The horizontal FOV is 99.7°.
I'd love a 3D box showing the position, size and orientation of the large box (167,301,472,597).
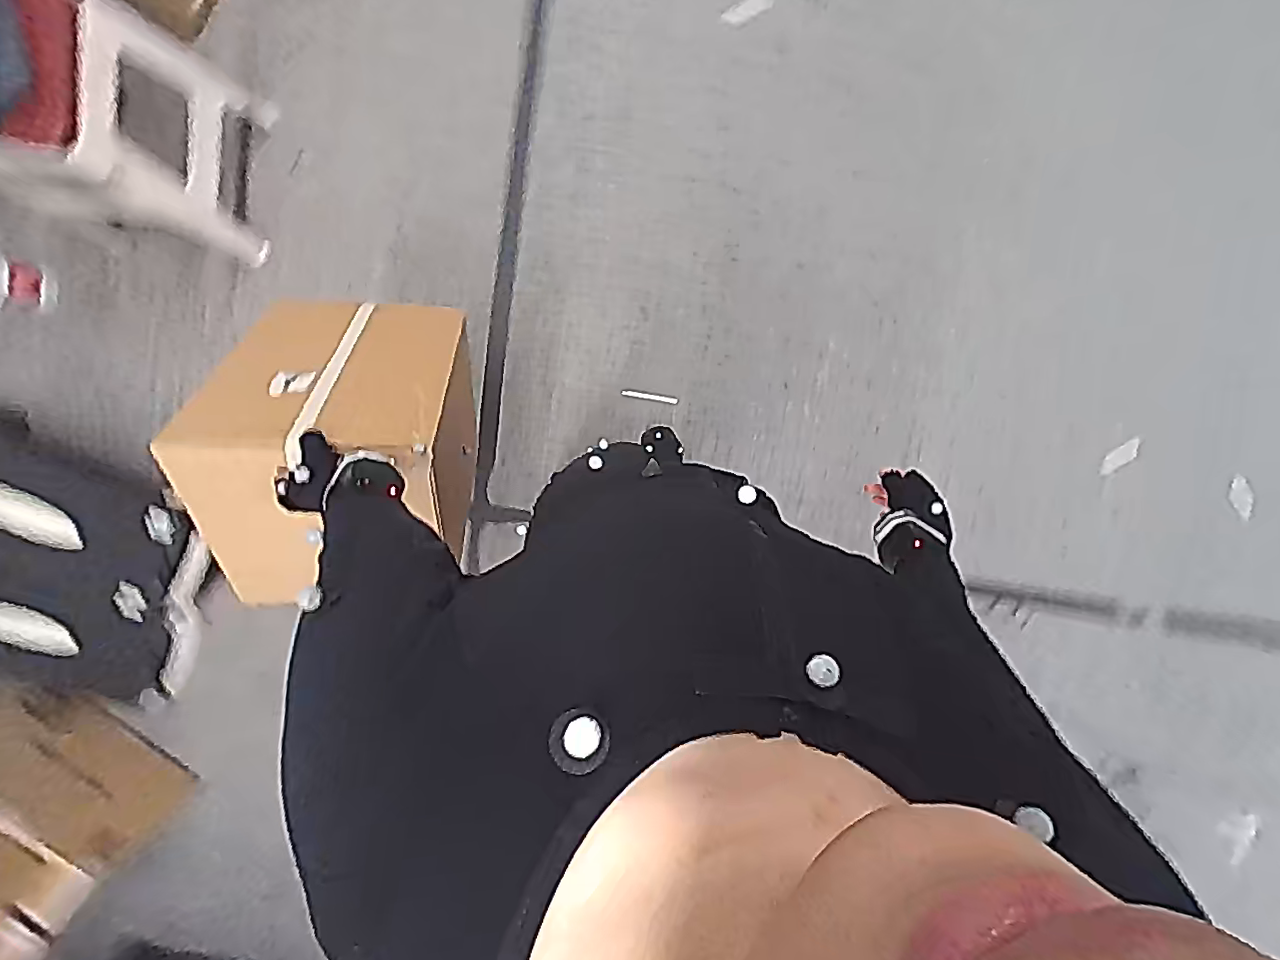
[{"bbox_3d":[-0.463,-0.058,0.909,0.320,0.408,0.320,1,133,-10],"label":"large box"}]
